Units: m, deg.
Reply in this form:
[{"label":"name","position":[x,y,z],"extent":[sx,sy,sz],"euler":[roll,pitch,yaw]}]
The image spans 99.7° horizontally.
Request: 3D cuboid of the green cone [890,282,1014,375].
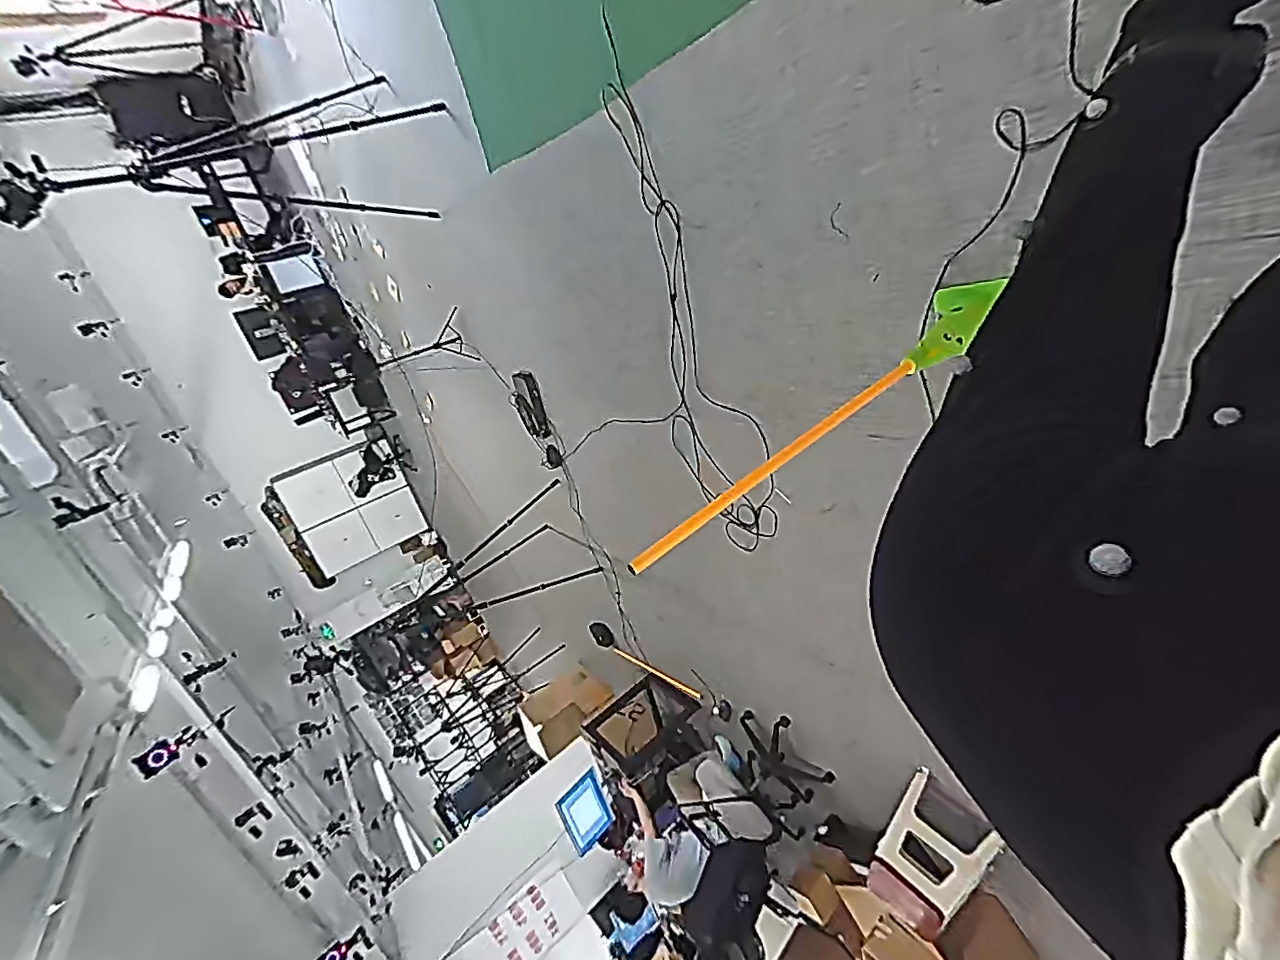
[{"label":"green cone","position":[0.764,-0.352,1.385],"extent":[0.202,0.368,0.200],"euler":[12,125,55]}]
